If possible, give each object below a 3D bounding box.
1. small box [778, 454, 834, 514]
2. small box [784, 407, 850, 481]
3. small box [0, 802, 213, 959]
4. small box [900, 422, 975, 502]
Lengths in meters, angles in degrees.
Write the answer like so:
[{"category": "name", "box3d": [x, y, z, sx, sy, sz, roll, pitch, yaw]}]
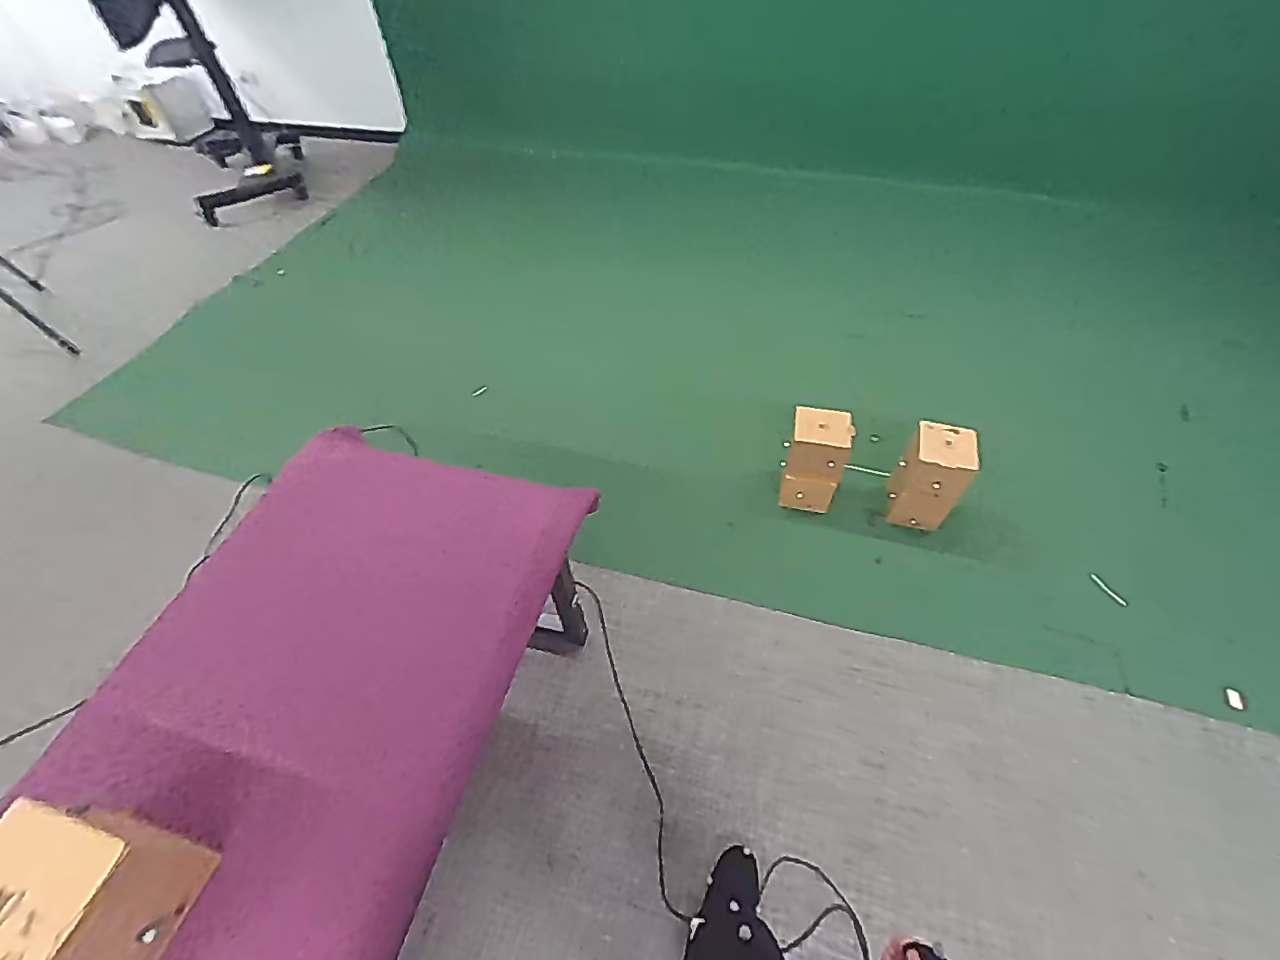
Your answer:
[{"category": "small box", "box3d": [0.588, -0.002, 1.912, 0.168, 0.176, 0.179, 9, 52, 10]}, {"category": "small box", "box3d": [0.587, -0.116, 1.795, 0.179, 0.176, 0.168, 9, 52, 10]}, {"category": "small box", "box3d": [-0.675, 0.508, 0.635, 0.179, 0.176, 0.168, 13, 54, 11]}, {"category": "small box", "box3d": [0.945, -0.054, 1.726, 0.168, 0.176, 0.179, 14, 55, 12]}]
